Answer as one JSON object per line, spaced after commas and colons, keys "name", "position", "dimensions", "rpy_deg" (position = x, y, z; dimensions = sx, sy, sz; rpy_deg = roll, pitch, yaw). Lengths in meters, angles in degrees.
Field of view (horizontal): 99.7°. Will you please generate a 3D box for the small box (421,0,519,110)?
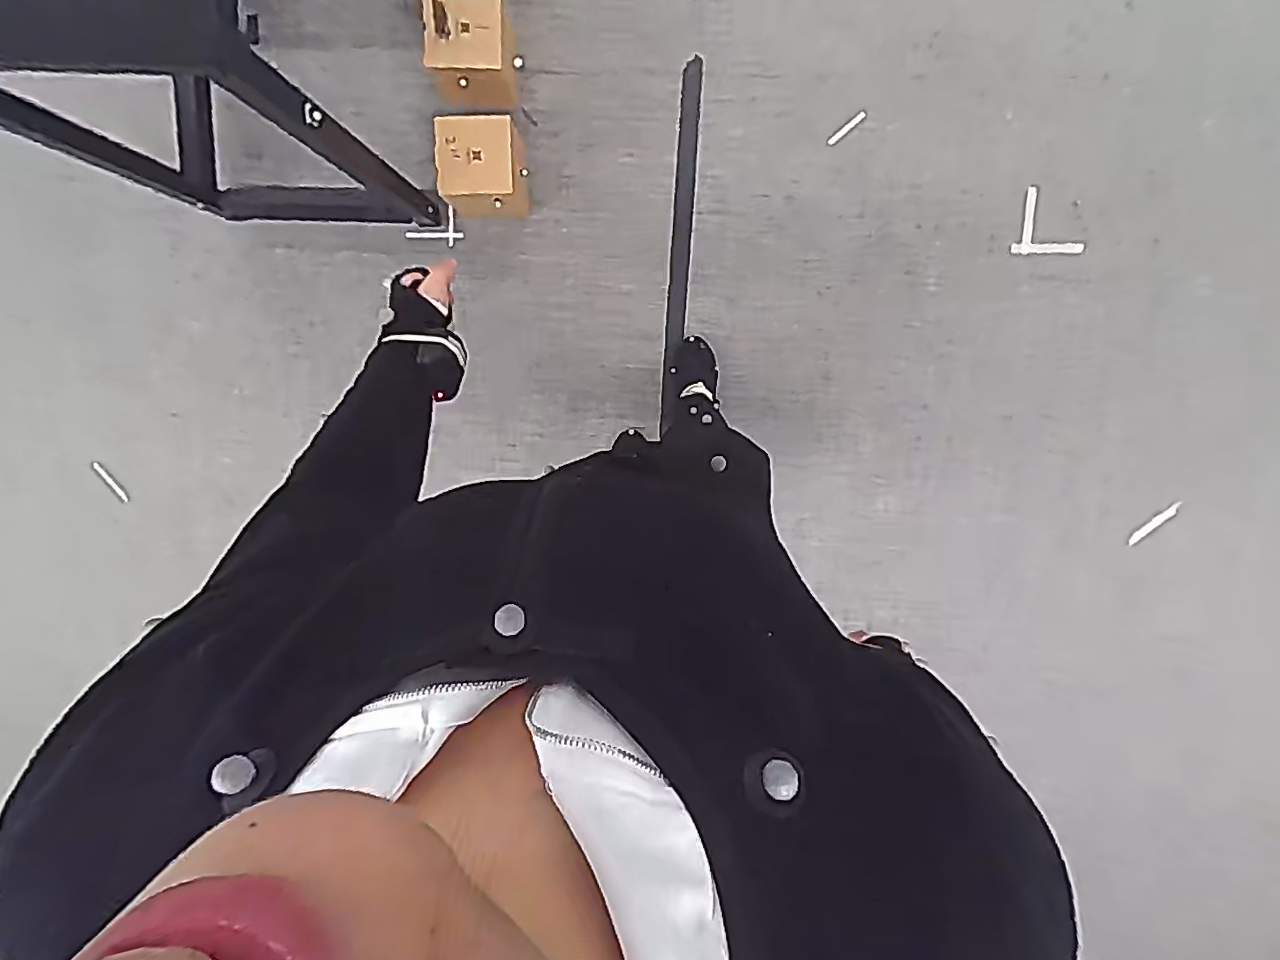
{"name": "small box", "position": [-0.394, -1.001, 1.269], "dimensions": [0.179, 0.176, 0.168], "rpy_deg": [2, 99, 1]}
